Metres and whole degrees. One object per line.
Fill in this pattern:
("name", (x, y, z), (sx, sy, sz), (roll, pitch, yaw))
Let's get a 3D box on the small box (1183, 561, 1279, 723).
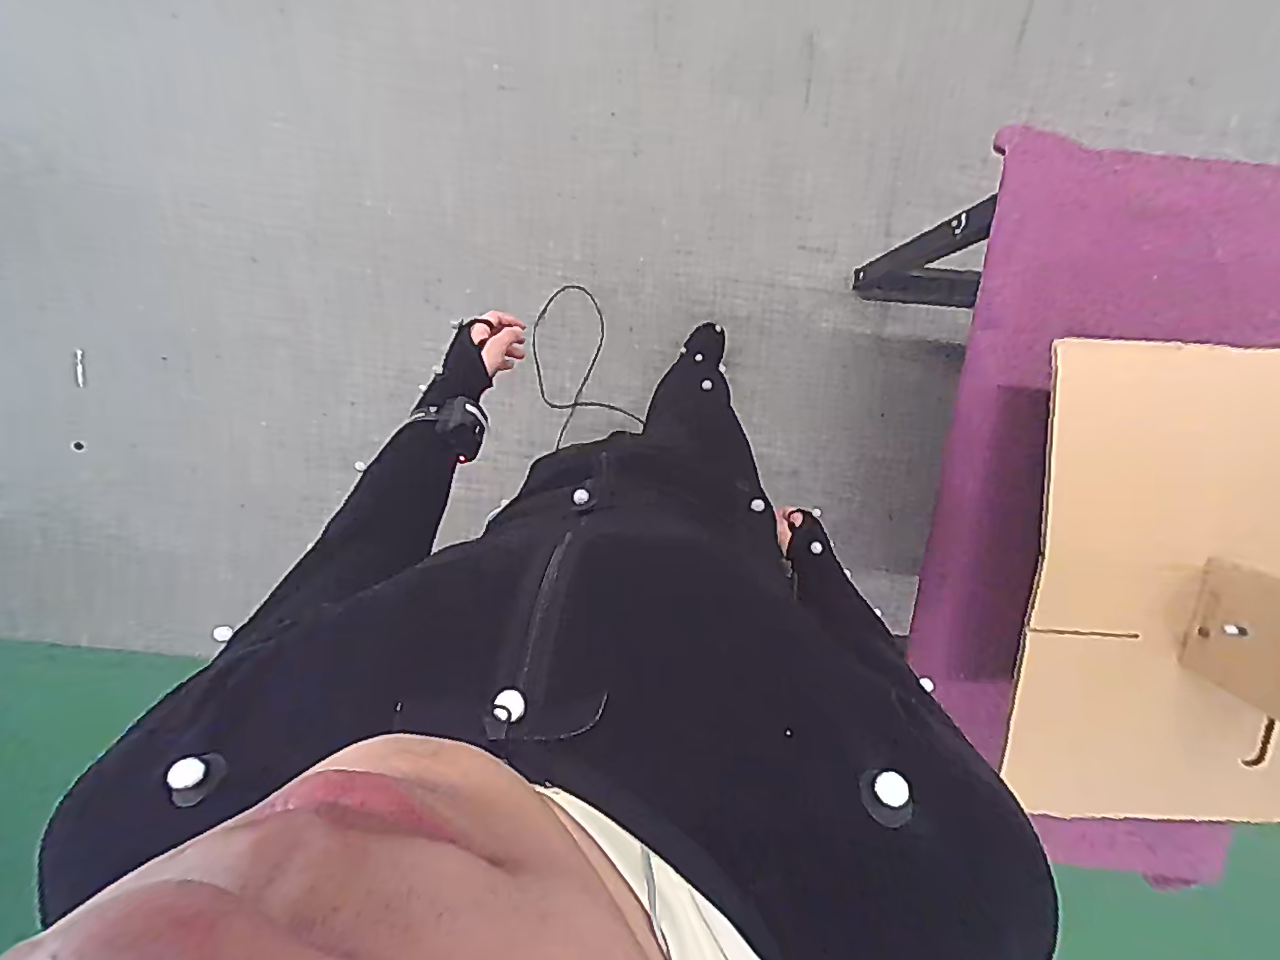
("small box", (0.845, 0.207, 0.659), (0.179, 0.176, 0.168), (4, 101, -1))
